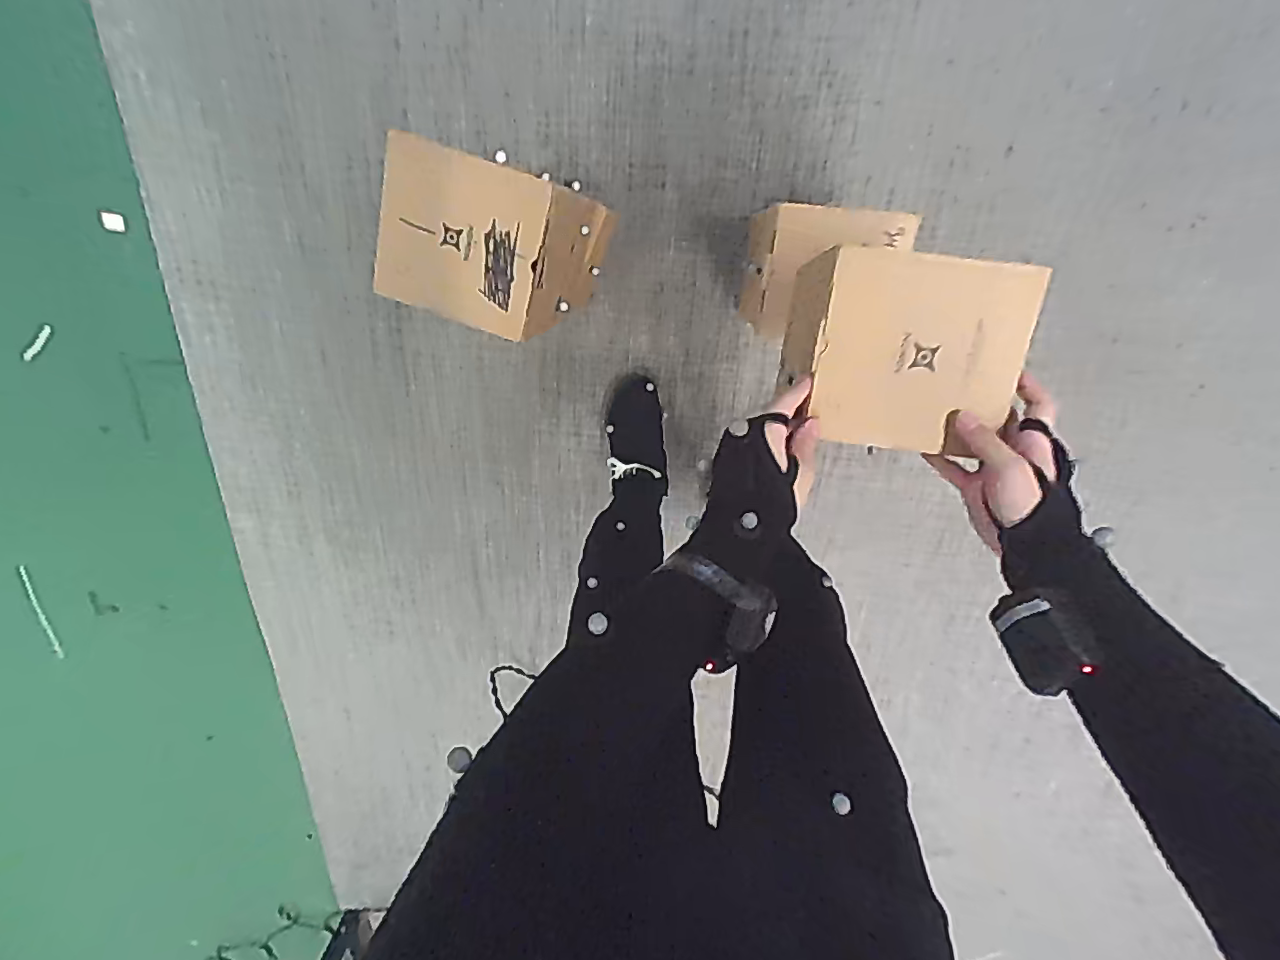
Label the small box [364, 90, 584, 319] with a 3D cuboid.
[{"bbox_3d":[-0.177,-0.302,0.615,0.179,0.176,0.168,21,115,-1],"label":"small box"}]

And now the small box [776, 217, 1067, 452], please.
[{"bbox_3d":[0.240,-0.136,0.519,0.179,0.176,0.168,10,107,2],"label":"small box"}]

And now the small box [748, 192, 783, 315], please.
[{"bbox_3d":[0.276,-0.366,0.894,0.168,0.176,0.179,8,115,4],"label":"small box"}]

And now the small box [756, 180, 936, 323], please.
[{"bbox_3d":[0.263,-0.301,0.744,0.179,0.176,0.168,9,115,4],"label":"small box"}]

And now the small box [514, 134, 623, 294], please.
[{"bbox_3d":[-0.140,-0.439,0.911,0.168,0.176,0.179,25,114,-6],"label":"small box"}]
